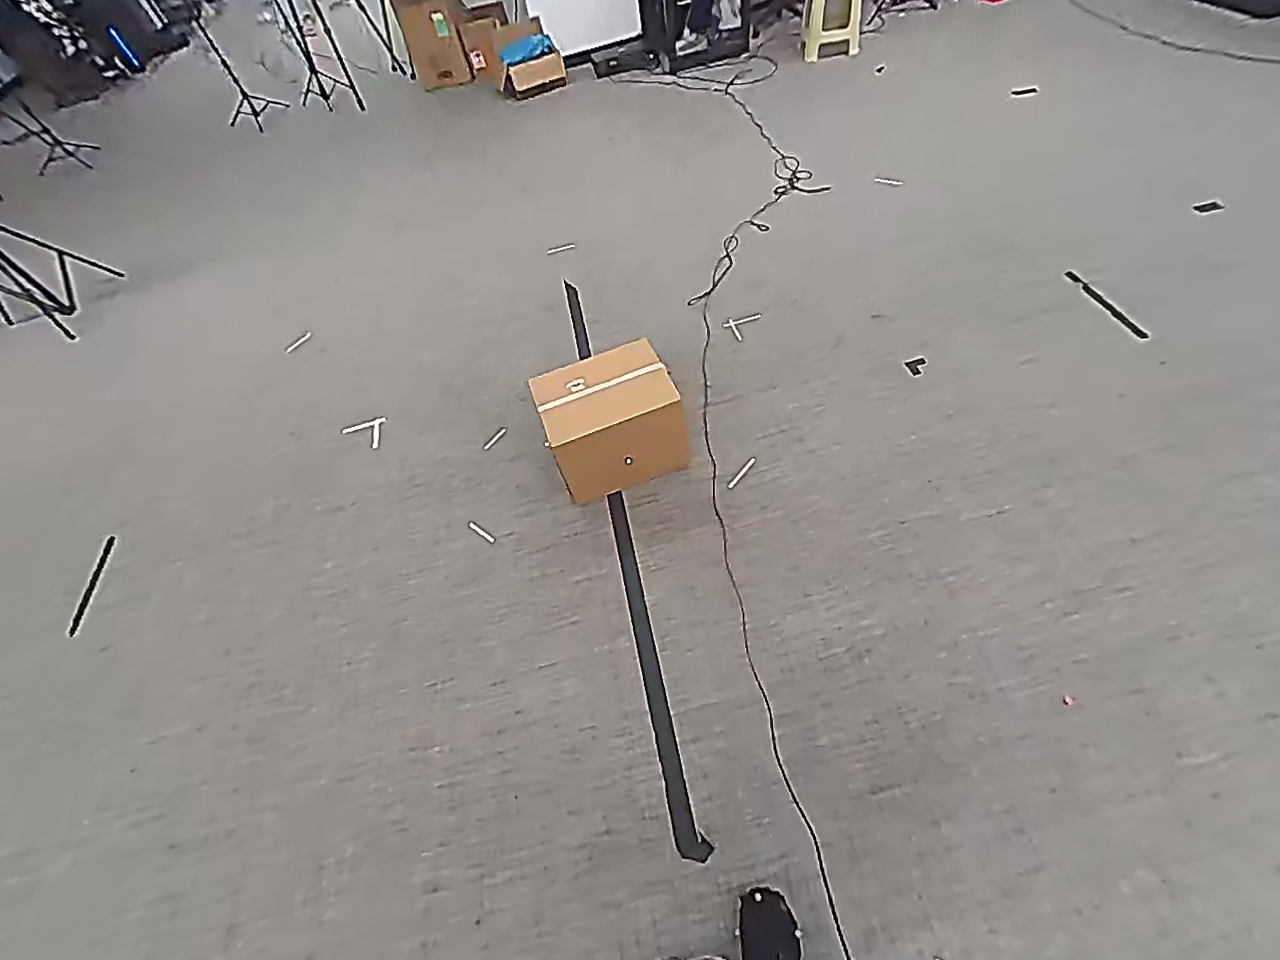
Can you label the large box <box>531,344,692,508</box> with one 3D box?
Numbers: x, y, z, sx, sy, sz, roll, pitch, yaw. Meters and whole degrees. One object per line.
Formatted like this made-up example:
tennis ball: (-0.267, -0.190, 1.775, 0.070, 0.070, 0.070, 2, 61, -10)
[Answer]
large box: (-0.085, -0.169, 1.746, 0.408, 0.320, 0.320, -21, 52, -4)
